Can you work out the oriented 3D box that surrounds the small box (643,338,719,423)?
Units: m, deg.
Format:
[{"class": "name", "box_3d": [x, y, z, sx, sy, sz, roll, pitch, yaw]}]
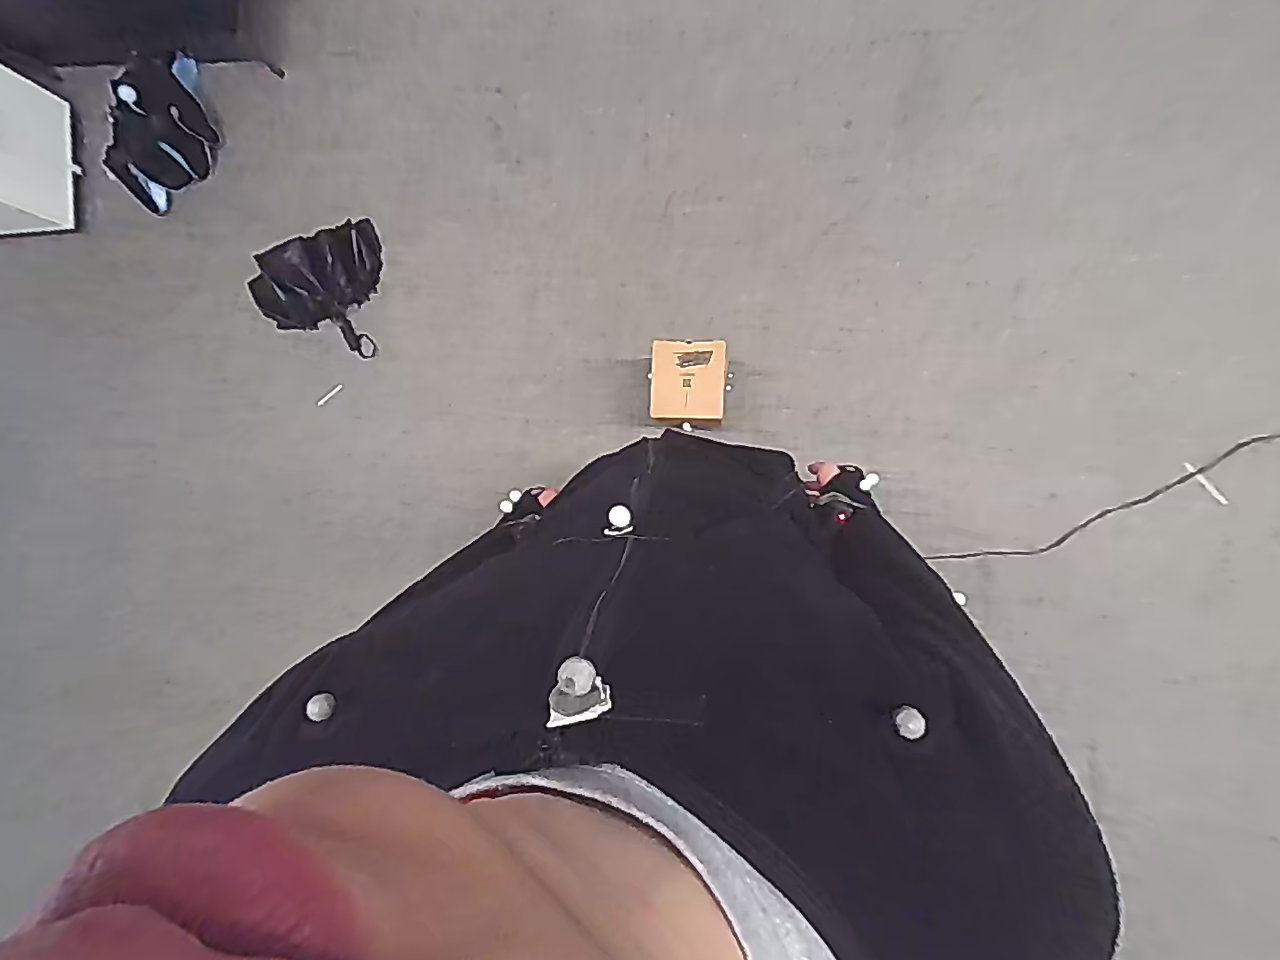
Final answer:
[{"class": "small box", "box_3d": [0.101, -0.233, 1.298, 0.168, 0.176, 0.179, 3, 93, 8]}]
